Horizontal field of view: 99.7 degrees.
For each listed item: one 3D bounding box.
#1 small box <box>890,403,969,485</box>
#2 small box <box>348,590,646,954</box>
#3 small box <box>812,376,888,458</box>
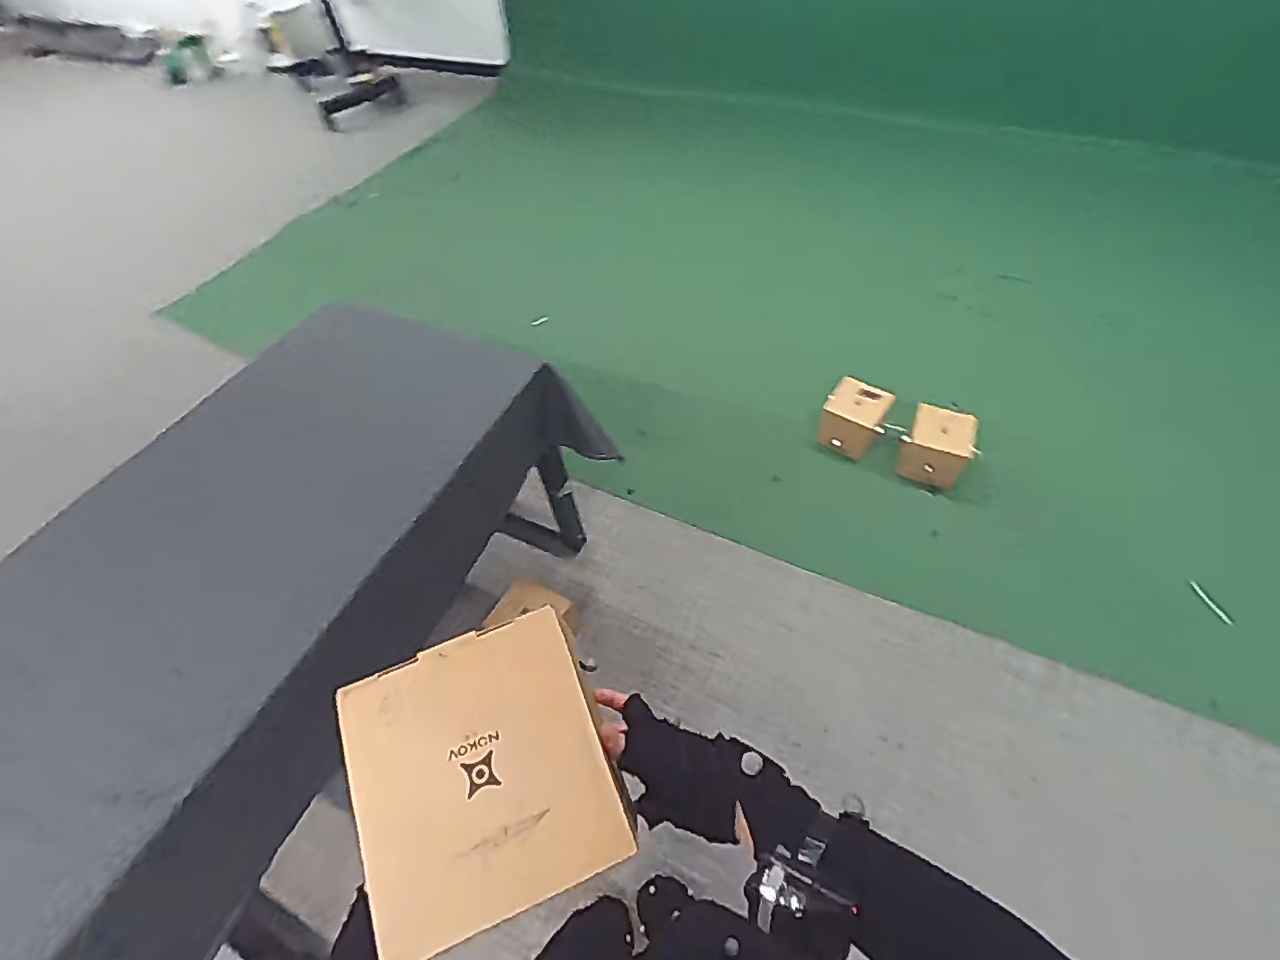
[{"bbox_3d":[0.919,-0.112,1.726,0.168,0.176,0.179,19,57,15],"label":"small box"},{"bbox_3d":[-0.103,0.214,0.432,0.168,0.176,0.179,-19,67,-9],"label":"small box"},{"bbox_3d":[0.695,-0.209,1.812,0.168,0.176,0.179,30,62,23],"label":"small box"}]
